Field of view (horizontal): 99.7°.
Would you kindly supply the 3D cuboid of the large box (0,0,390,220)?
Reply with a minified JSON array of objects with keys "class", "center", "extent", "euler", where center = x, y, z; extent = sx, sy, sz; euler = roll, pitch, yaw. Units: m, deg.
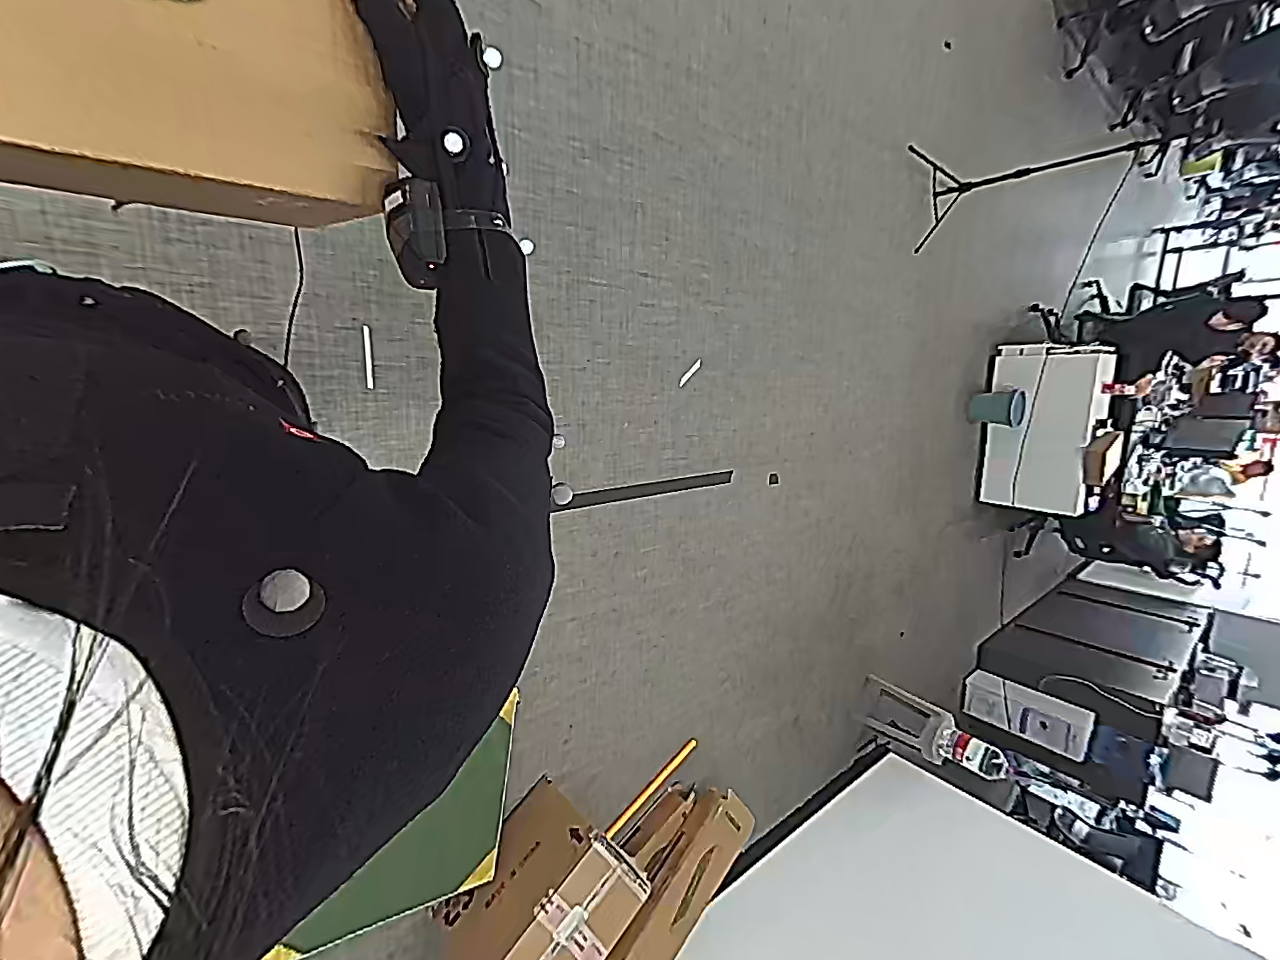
[{"class":"large box","center":[-0.433,-0.379,0.363],"extent":[0.408,0.320,0.320],"euler":[-10,114,-40]}]
